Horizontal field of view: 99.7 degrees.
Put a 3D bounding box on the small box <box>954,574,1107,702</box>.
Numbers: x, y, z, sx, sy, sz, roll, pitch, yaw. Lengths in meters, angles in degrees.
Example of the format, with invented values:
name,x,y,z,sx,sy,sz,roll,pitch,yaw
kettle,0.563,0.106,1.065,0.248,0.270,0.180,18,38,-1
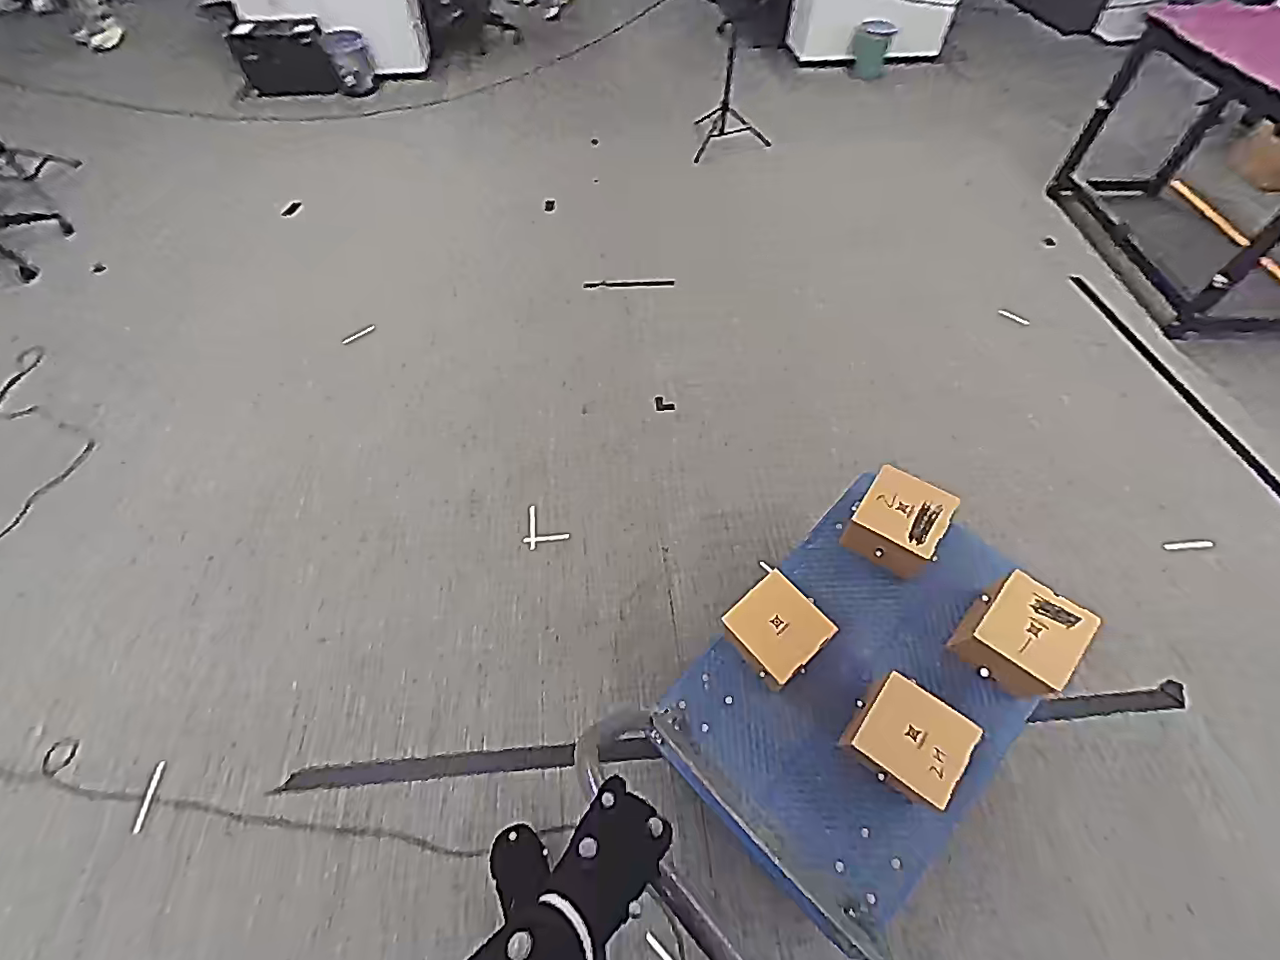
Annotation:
name,x,y,z,sx,sy,sz,roll,pitch,yaw
small box,0.776,0.325,1.097,0.168,0.176,0.179,37,76,24

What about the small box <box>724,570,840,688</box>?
name,x,y,z,sx,sy,sz,roll,pitch,yaw
small box,0.299,0.332,1.180,0.168,0.176,0.179,-39,66,-10

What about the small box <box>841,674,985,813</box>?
name,x,y,z,sx,sy,sz,roll,pitch,yaw
small box,0.517,0.509,1.052,0.179,0.176,0.168,34,74,23
